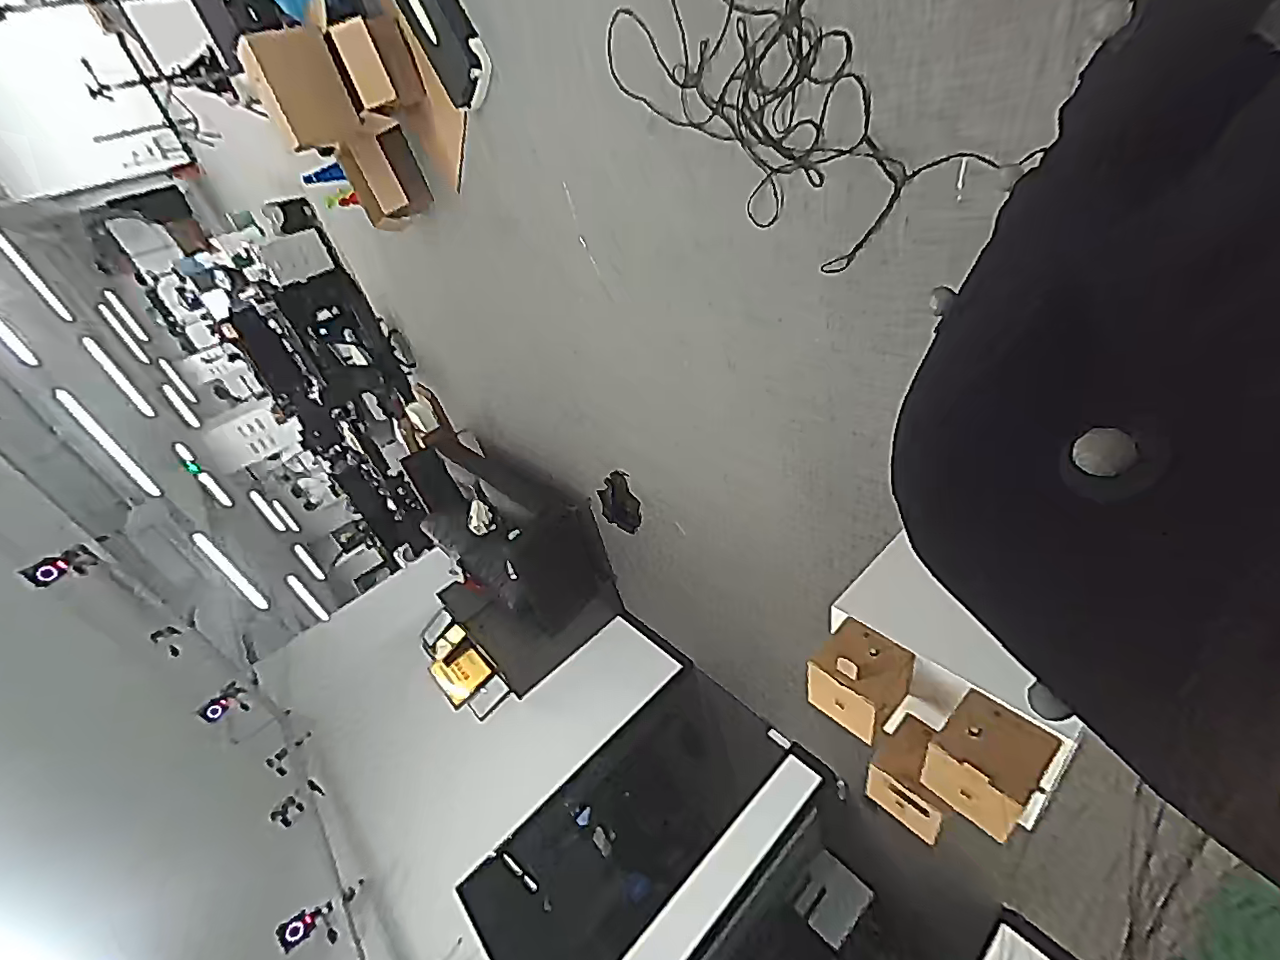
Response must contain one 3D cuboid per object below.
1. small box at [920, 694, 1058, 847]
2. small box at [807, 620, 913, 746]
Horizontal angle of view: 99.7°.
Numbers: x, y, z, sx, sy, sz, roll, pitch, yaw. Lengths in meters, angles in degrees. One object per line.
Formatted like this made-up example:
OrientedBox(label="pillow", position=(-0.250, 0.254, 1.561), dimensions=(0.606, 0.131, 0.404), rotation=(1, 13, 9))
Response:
OrientedBox(label="small box", position=(0.687, 0.565, 1.069), dimensions=(0.168, 0.176, 0.179), rotation=(31, 147, 43))
OrientedBox(label="small box", position=(0.508, 0.465, 1.254), dimensions=(0.168, 0.176, 0.179), rotation=(29, 144, 42))
